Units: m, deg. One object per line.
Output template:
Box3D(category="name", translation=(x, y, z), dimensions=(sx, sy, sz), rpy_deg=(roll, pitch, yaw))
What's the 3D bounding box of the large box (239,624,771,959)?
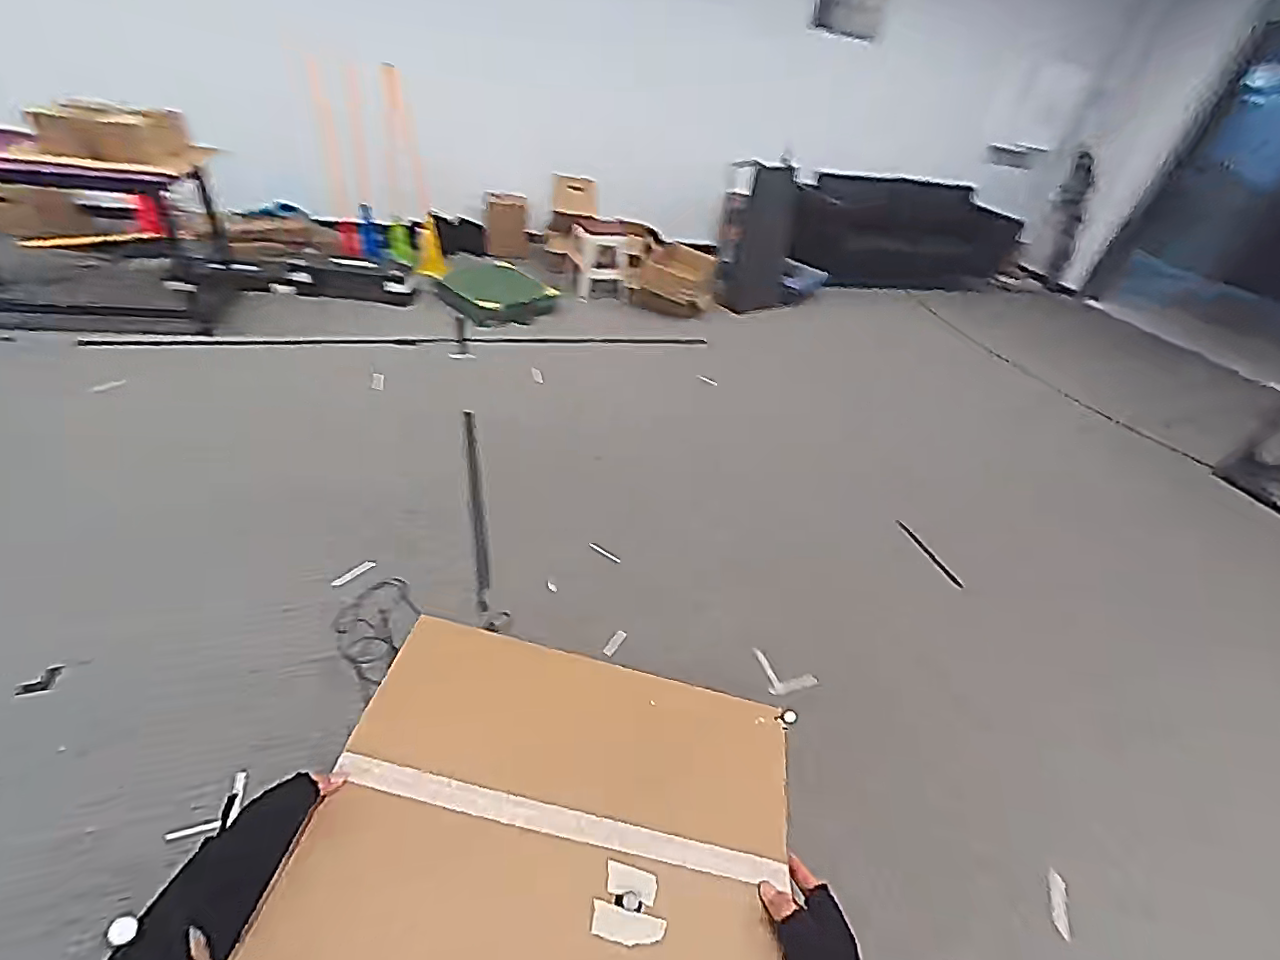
Box3D(category="large box", translation=(-0.106, 0.408, 0.583), dimensions=(0.408, 0.320, 0.320), rpy_deg=(15, 42, -2))
